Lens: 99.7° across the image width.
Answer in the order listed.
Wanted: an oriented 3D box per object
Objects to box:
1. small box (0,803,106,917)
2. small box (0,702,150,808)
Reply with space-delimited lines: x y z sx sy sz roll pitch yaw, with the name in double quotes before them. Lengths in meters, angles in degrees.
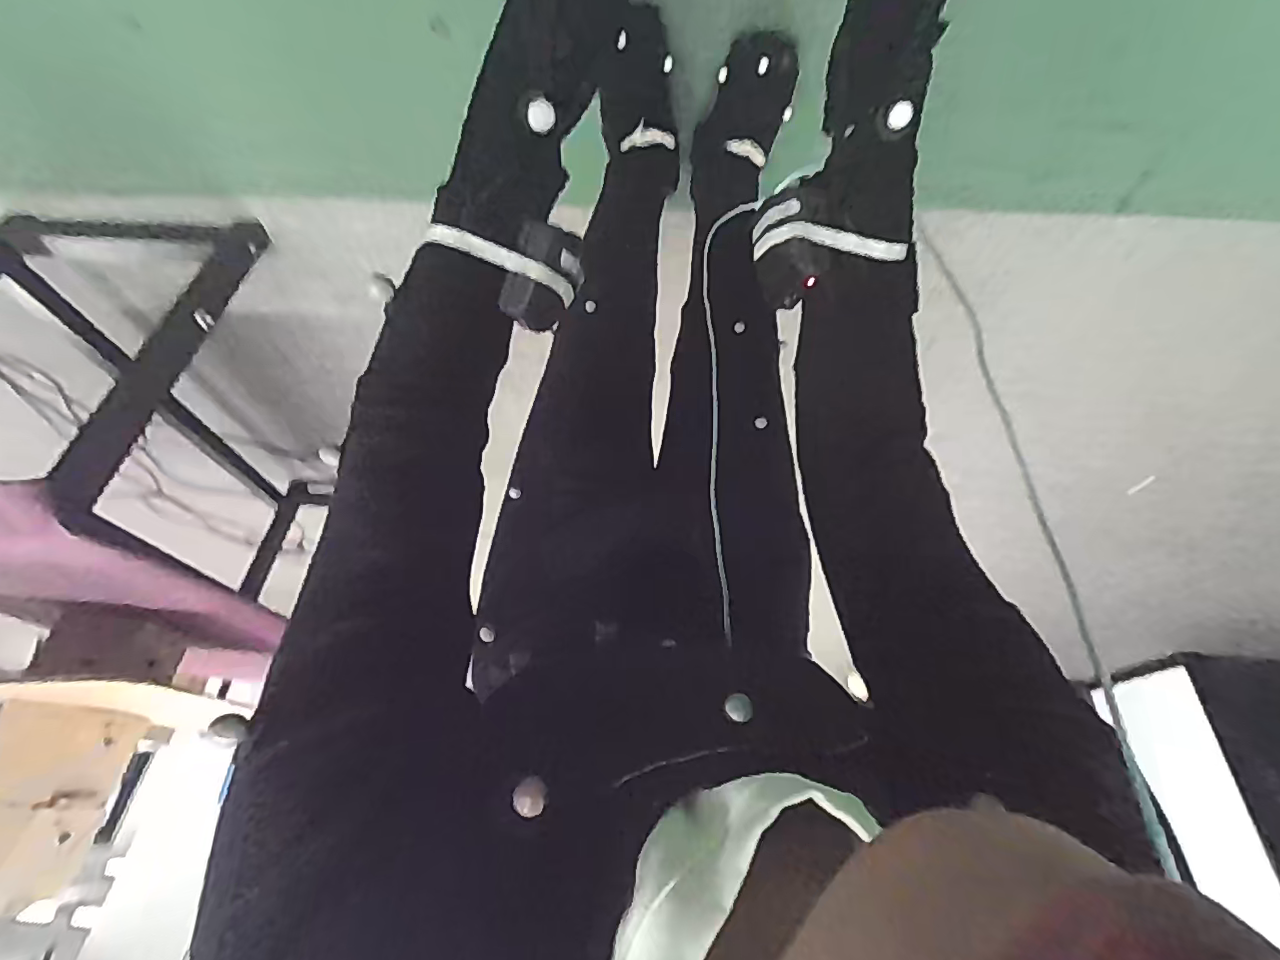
"small box" -1.179 0.693 1.006 0.179 0.176 0.168 5 148 4
"small box" -1.169 0.555 1.092 0.179 0.176 0.168 6 149 2
